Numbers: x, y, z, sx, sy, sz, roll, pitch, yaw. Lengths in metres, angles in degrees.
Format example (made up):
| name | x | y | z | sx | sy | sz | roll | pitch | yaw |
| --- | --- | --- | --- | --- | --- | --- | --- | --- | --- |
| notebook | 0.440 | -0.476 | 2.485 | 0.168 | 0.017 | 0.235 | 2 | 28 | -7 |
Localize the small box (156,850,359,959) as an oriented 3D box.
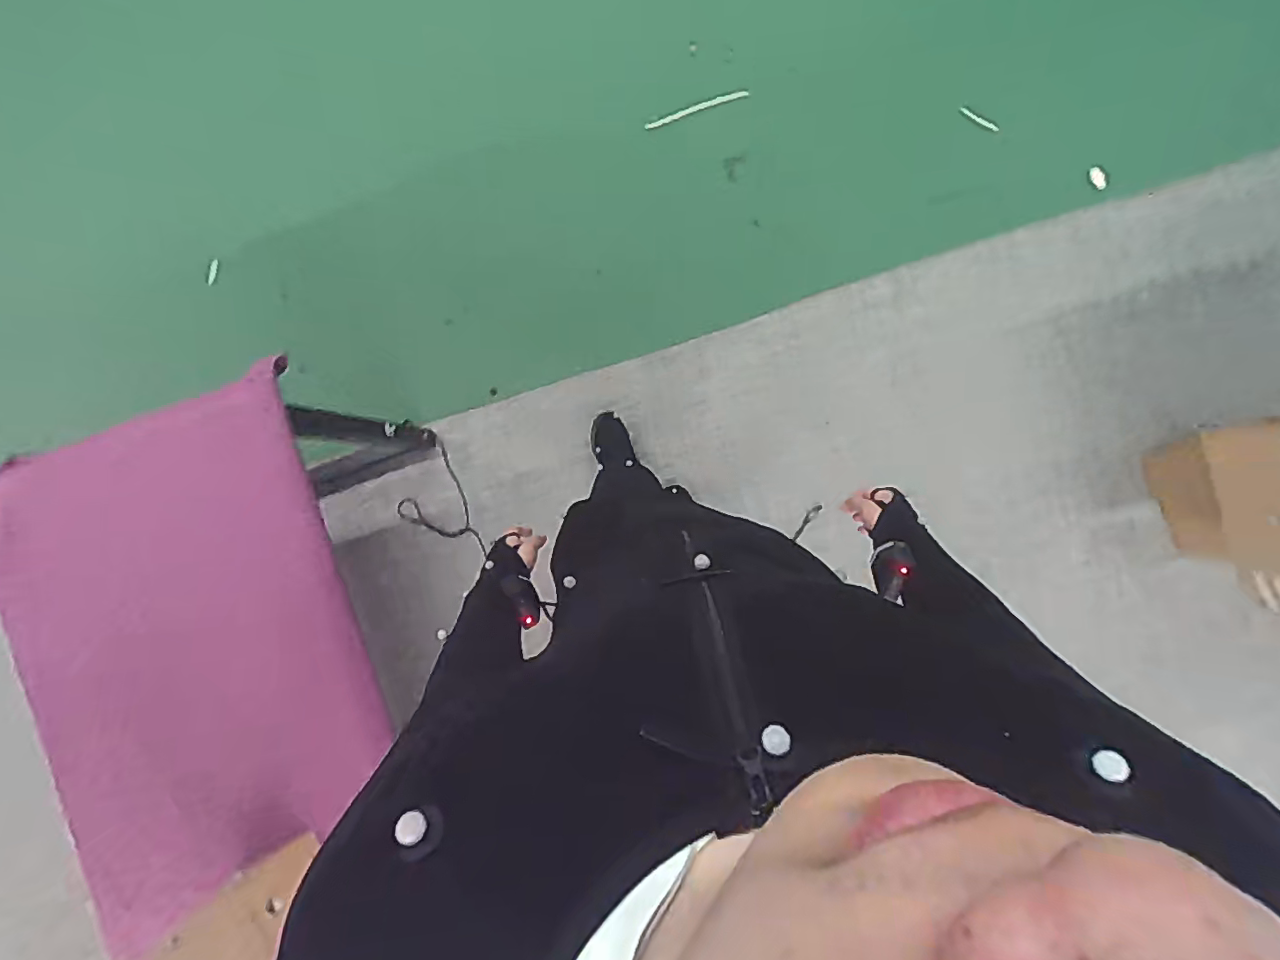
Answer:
| name | x | y | z | sx | sy | sz | roll | pitch | yaw |
| --- | --- | --- | --- | --- | --- | --- | --- | --- | --- |
| small box | -0.601 | 0.741 | 0.867 | 0.168 | 0.176 | 0.179 | -33 | 89 | 3 |
